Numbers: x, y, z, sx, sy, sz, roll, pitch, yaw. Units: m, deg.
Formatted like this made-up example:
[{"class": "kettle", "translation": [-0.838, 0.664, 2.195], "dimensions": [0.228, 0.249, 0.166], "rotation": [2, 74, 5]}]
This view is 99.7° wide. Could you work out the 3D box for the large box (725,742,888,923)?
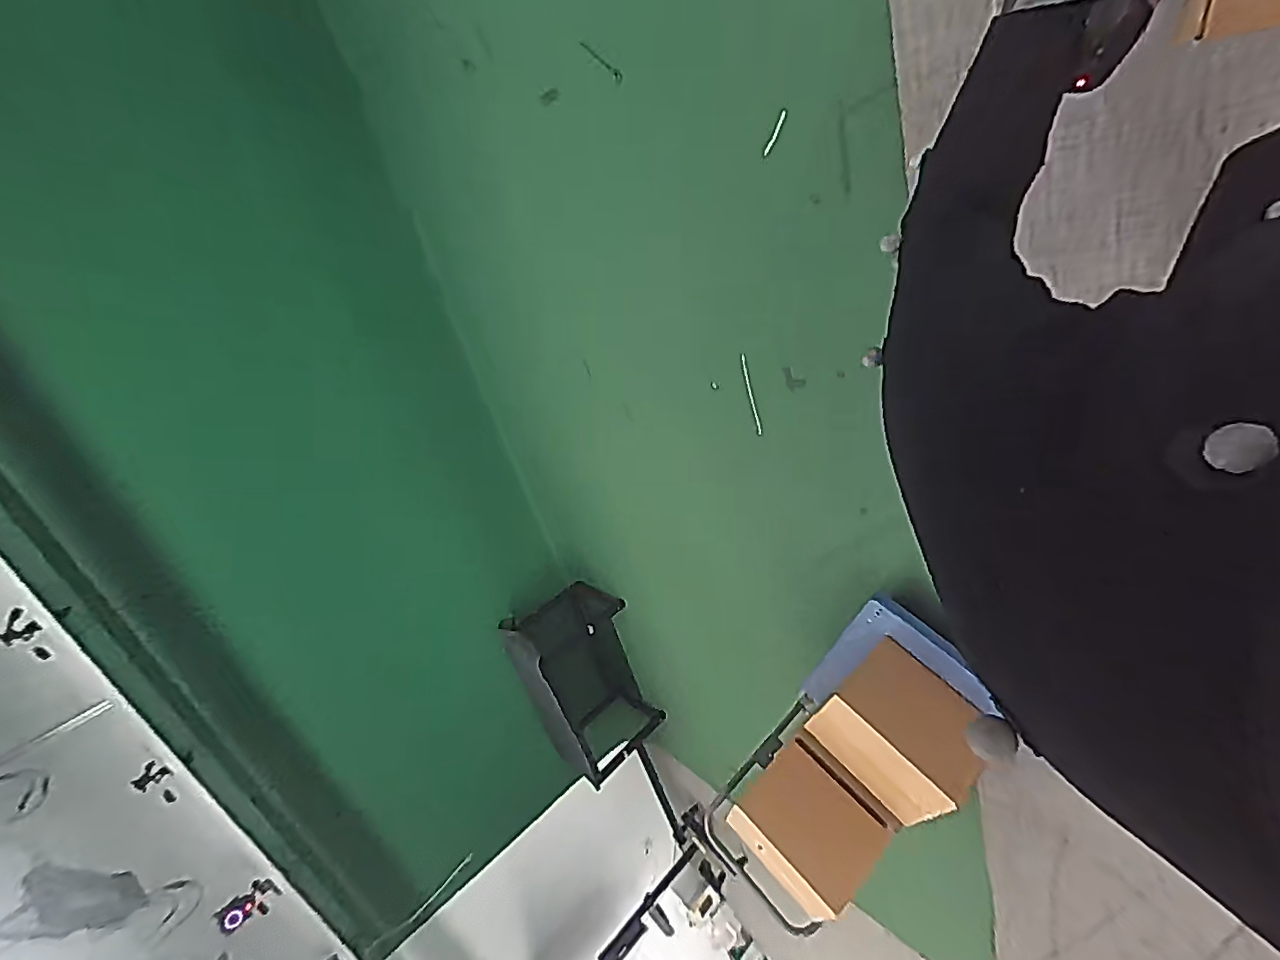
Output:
[{"class": "large box", "translation": [0.556, 1.204, 1.861], "dimensions": [0.408, 0.320, 0.320], "rotation": [41, 150, 29]}]
